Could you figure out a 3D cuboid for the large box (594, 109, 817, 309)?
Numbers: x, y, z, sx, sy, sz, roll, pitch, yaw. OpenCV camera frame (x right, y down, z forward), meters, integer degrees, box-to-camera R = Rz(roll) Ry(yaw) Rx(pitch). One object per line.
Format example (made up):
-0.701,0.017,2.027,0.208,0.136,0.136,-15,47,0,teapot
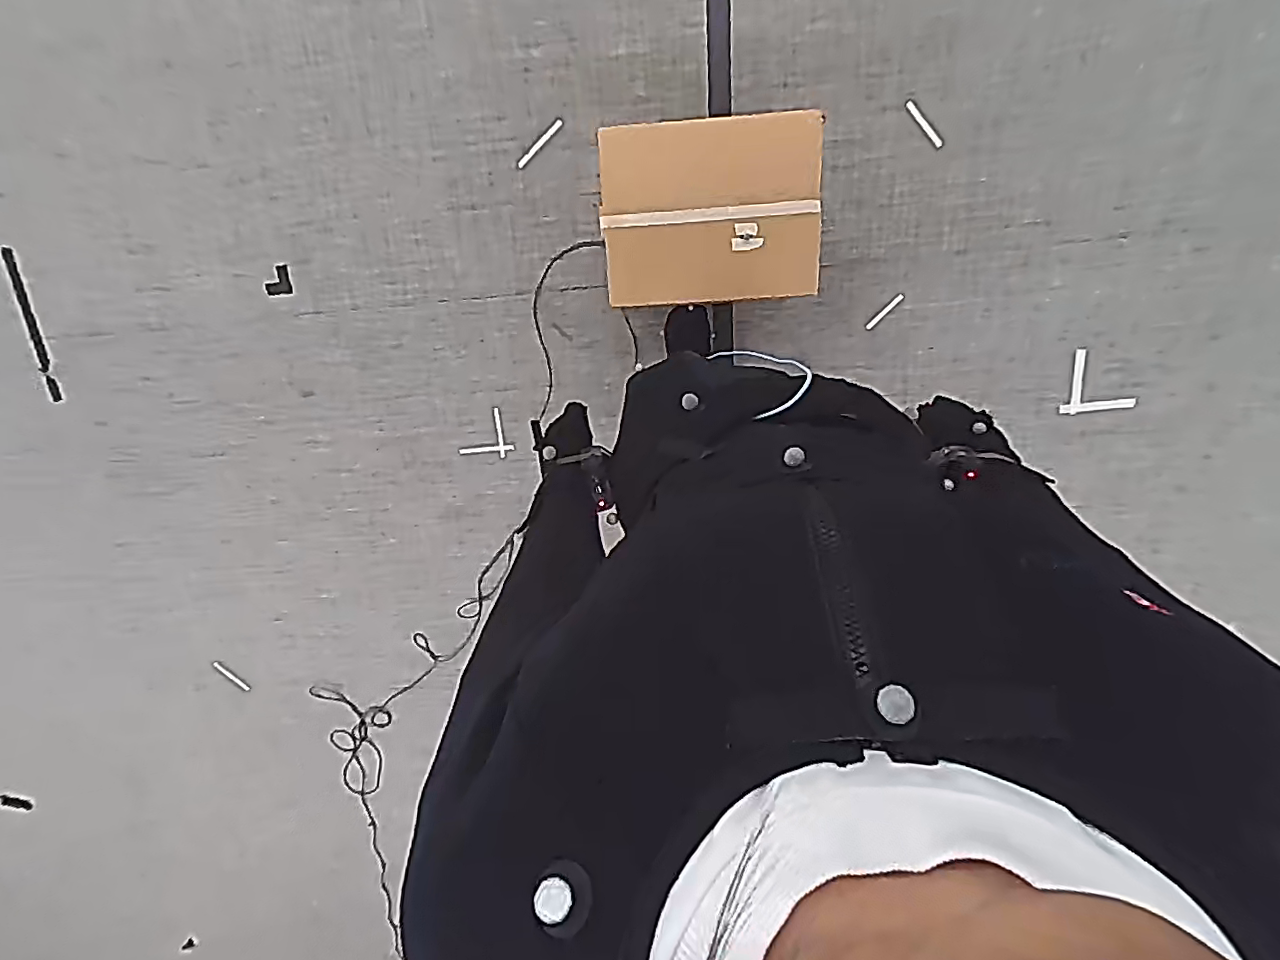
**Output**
0.130,-0.541,1.149,0.408,0.320,0.320,-2,108,3,large box
